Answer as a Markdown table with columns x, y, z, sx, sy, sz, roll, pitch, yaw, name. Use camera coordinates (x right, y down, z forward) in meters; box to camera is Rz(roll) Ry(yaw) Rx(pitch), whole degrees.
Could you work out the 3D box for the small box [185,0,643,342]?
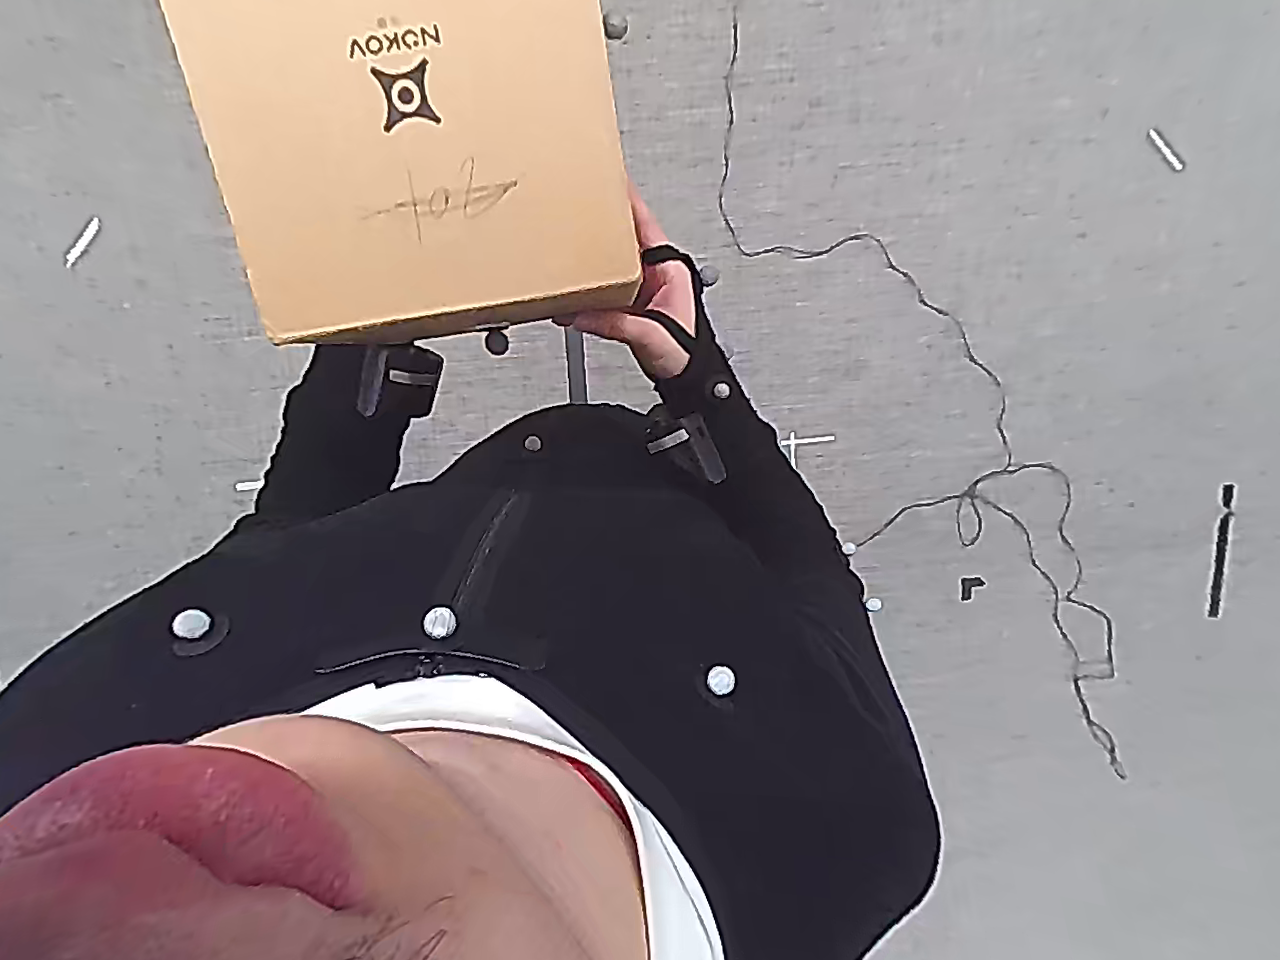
| x | y | z | sx | sy | sz | roll | pitch | yaw | name |
| --- | --- | --- | --- | --- | --- | --- | --- | --- | --- |
| -0.096 | -0.179 | 0.303 | 0.168 | 0.176 | 0.179 | -10 | 104 | 0 | small box |
